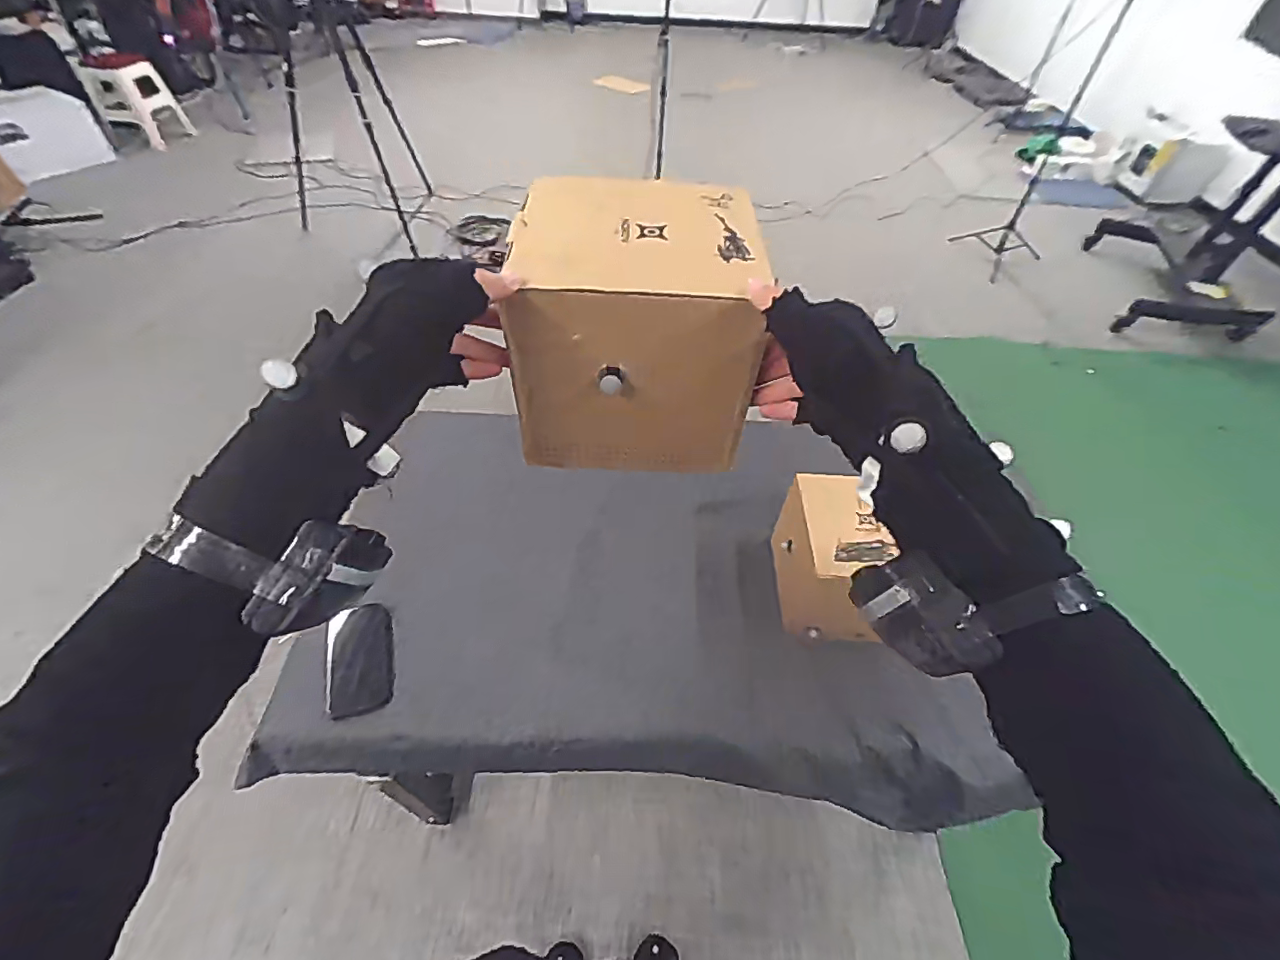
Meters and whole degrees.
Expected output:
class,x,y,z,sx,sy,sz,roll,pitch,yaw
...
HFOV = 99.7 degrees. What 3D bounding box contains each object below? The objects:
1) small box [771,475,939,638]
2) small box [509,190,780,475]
class,x,y,z,sx,sy,sz,roll,pitch,yaw
small box,0.299,0.116,0.795,0.168,0.176,0.179,4,47,-1
small box,0.002,-0.119,0.452,0.179,0.176,0.168,3,50,-1
